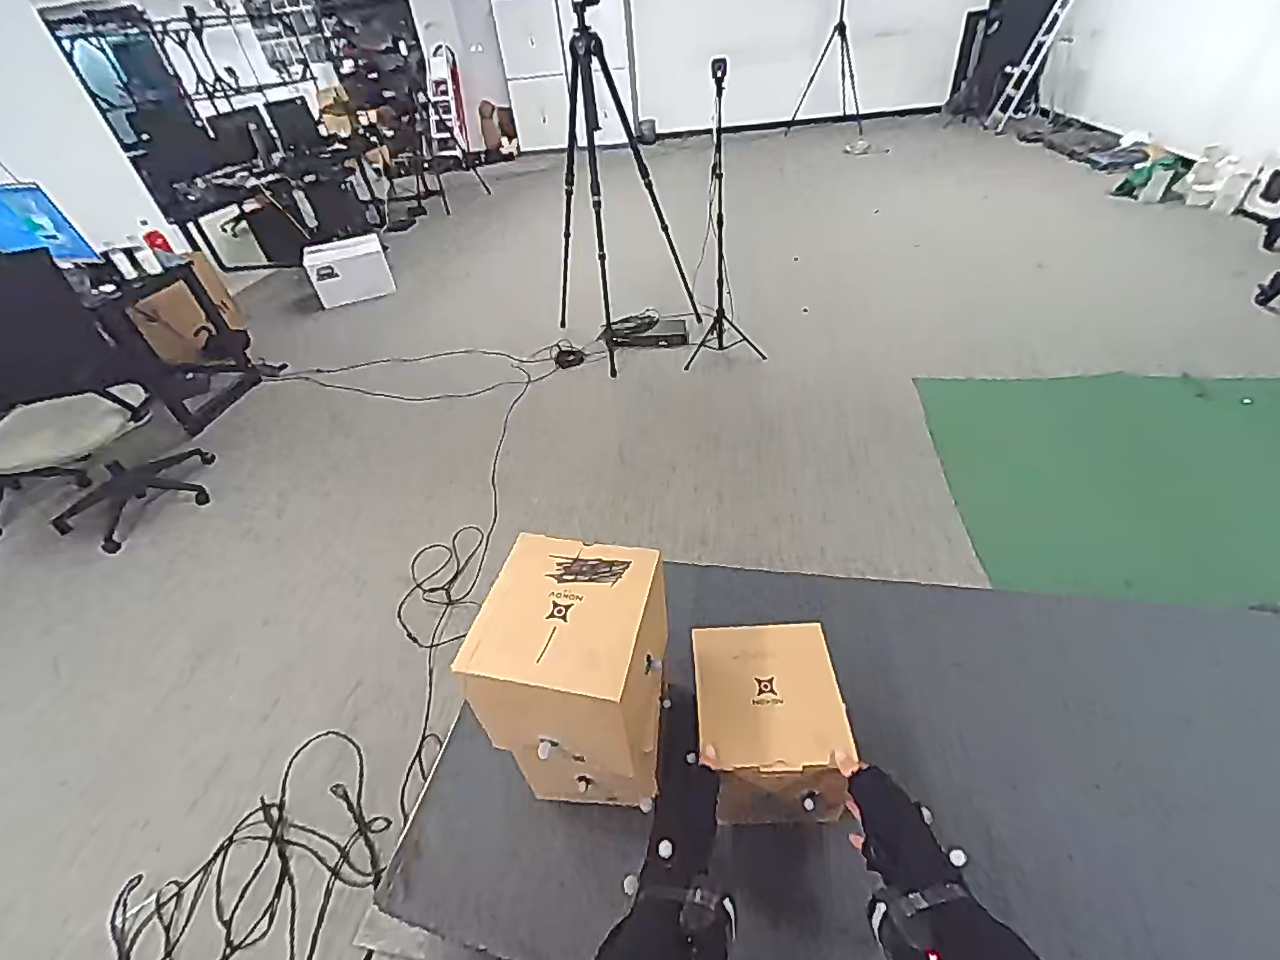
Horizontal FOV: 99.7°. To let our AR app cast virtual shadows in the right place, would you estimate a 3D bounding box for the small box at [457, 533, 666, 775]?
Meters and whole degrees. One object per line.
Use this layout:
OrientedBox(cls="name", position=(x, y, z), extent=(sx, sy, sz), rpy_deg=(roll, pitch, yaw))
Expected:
OrientedBox(cls="small box", position=(-0.067, 0.185, 0.590), extent=(0.168, 0.176, 0.179), rpy_deg=(5, 42, 13))
